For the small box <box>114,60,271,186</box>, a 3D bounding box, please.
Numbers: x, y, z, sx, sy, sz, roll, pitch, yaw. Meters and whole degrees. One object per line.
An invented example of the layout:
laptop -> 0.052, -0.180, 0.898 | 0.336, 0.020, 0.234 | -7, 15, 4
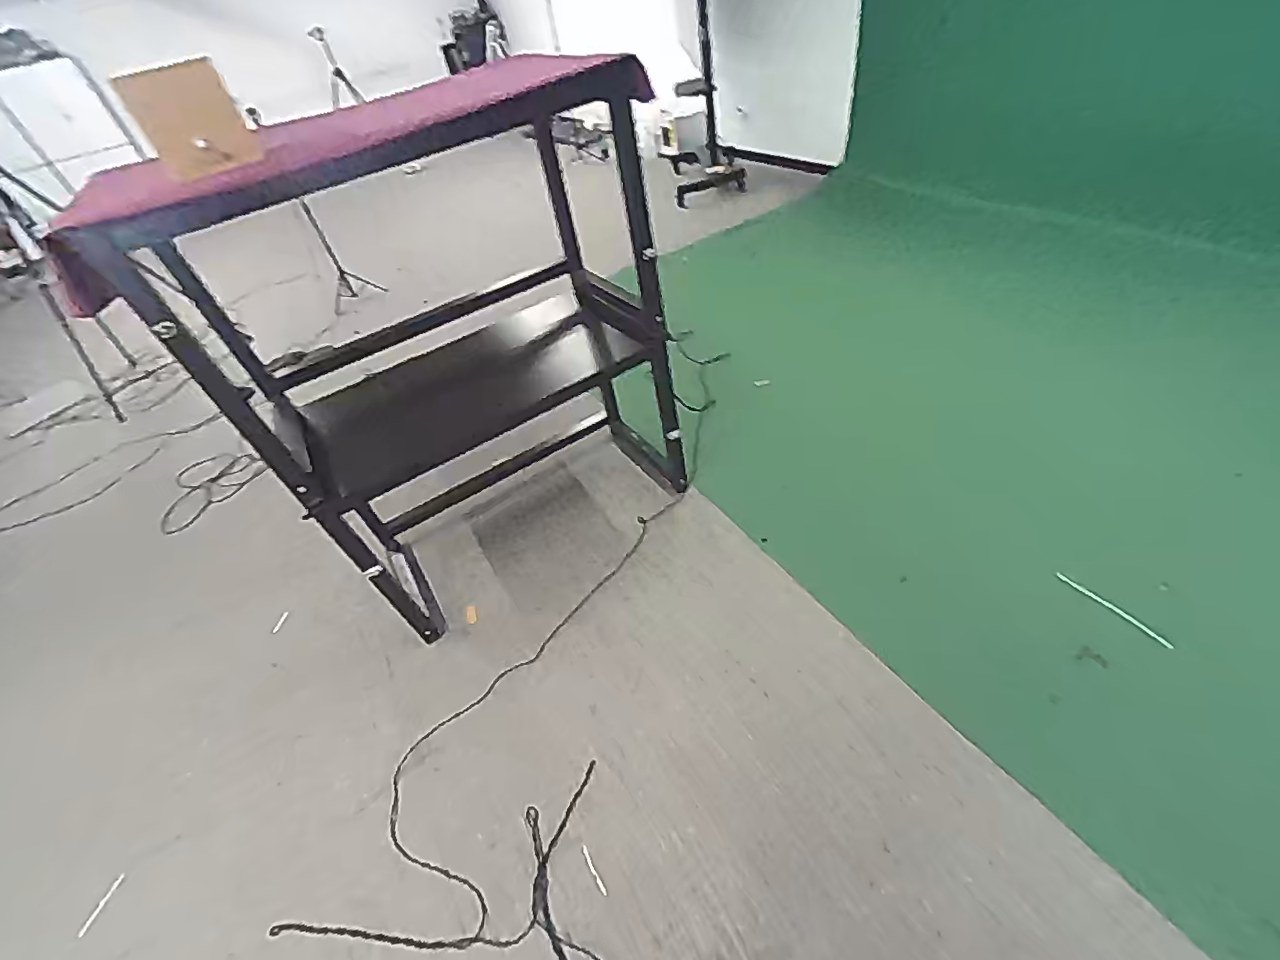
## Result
small box -> -0.853, -0.689, 1.047 | 0.168, 0.176, 0.179 | -30, 46, -18
